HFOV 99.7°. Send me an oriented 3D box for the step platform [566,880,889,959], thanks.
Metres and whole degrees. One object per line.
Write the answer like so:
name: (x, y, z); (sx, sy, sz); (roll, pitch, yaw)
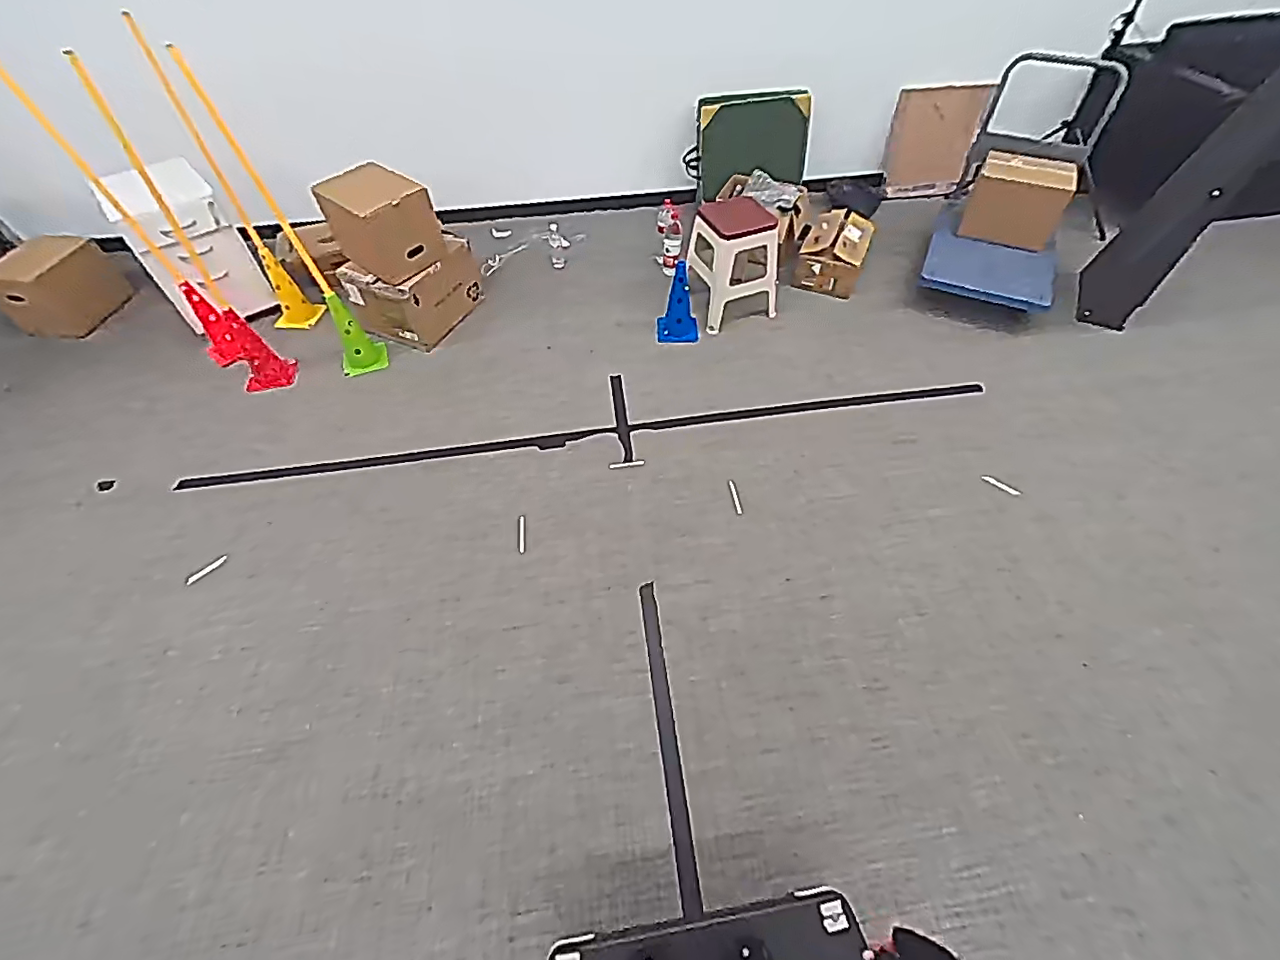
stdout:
step platform: (0.184, 1.078, 1.135); (0.684, 0.204, 0.286); (-8, 52, -6)
